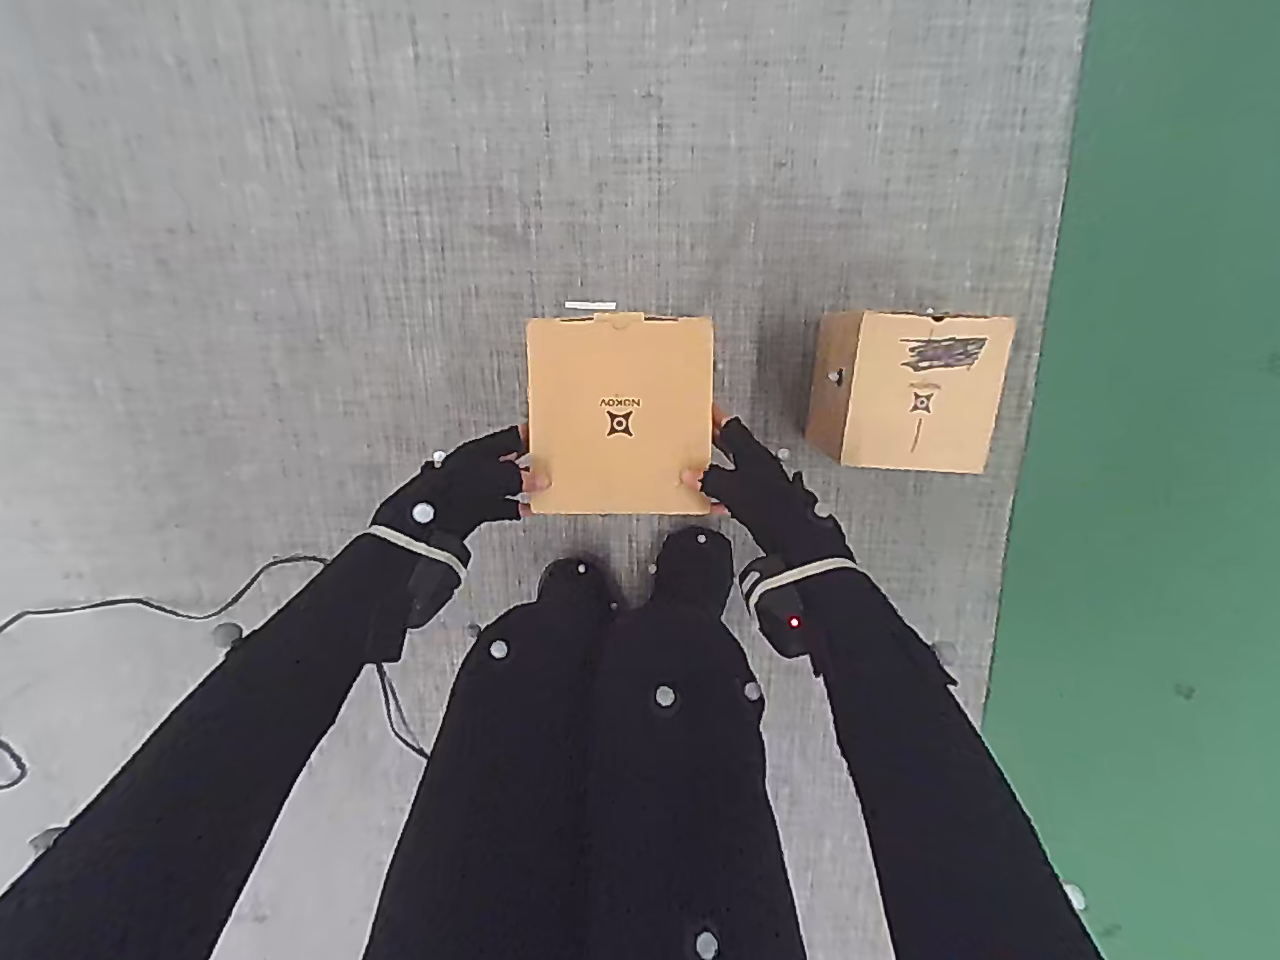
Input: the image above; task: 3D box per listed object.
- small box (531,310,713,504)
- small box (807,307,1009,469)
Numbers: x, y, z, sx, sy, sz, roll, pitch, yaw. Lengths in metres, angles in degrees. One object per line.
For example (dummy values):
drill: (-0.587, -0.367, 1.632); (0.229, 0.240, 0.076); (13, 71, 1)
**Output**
small box: (-0.013, -0.074, 0.569); (0.168, 0.176, 0.179); (-1, 96, 2)
small box: (0.320, -0.121, 0.687); (0.168, 0.176, 0.179); (3, 105, 3)
